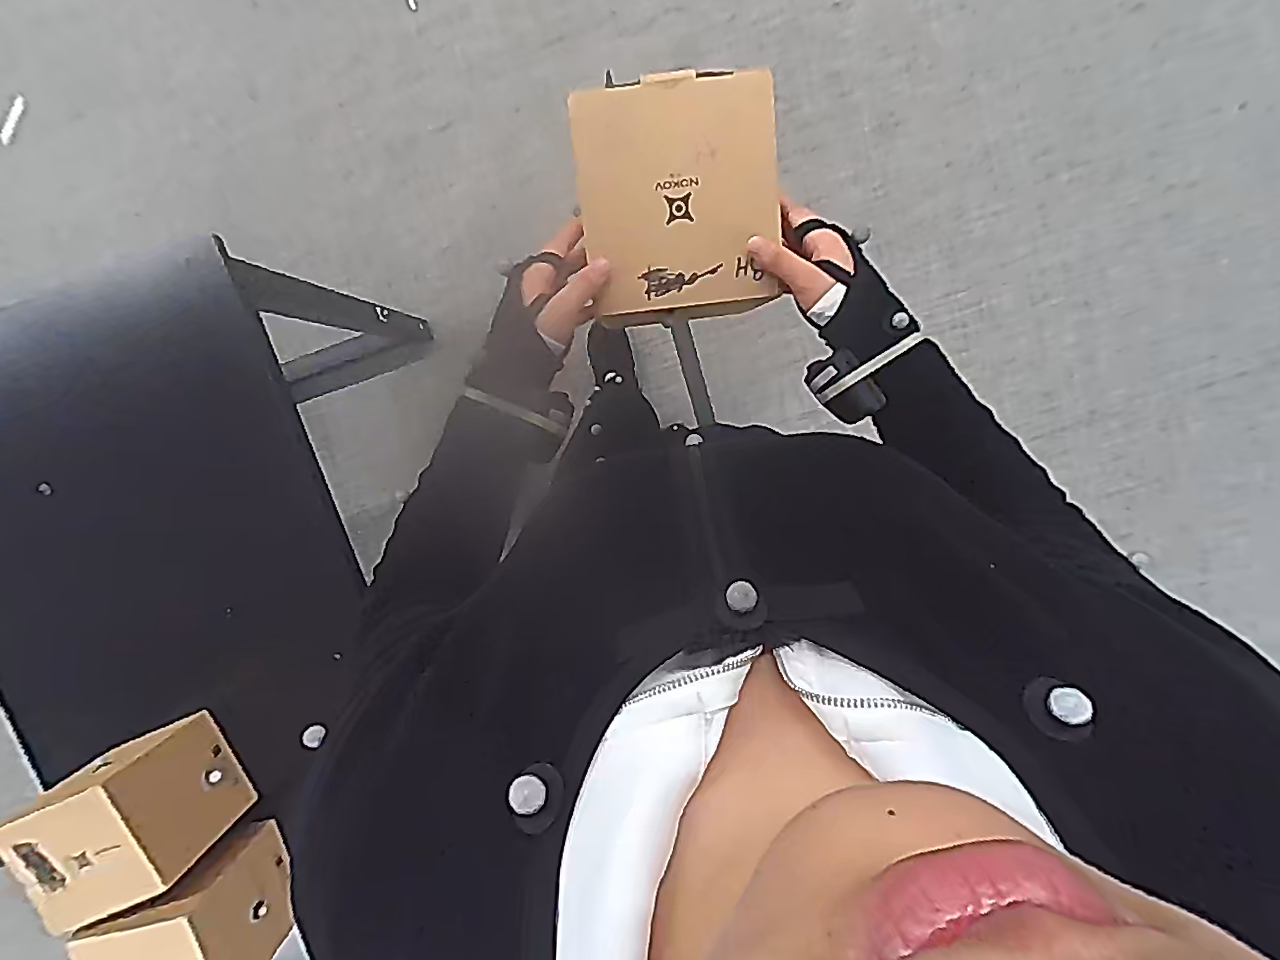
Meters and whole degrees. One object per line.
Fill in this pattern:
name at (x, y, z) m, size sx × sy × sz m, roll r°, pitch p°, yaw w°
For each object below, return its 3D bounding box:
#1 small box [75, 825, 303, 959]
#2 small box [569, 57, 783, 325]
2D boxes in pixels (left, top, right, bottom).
small box at (-0.631, 0.644, 0.788) m, size 0.179 × 0.176 × 0.168 m, roll -14°, pitch 96°, yaw 4°
small box at (0.032, -0.255, 0.522) m, size 0.168 × 0.176 × 0.179 m, roll -7°, pitch 101°, yaw 3°
